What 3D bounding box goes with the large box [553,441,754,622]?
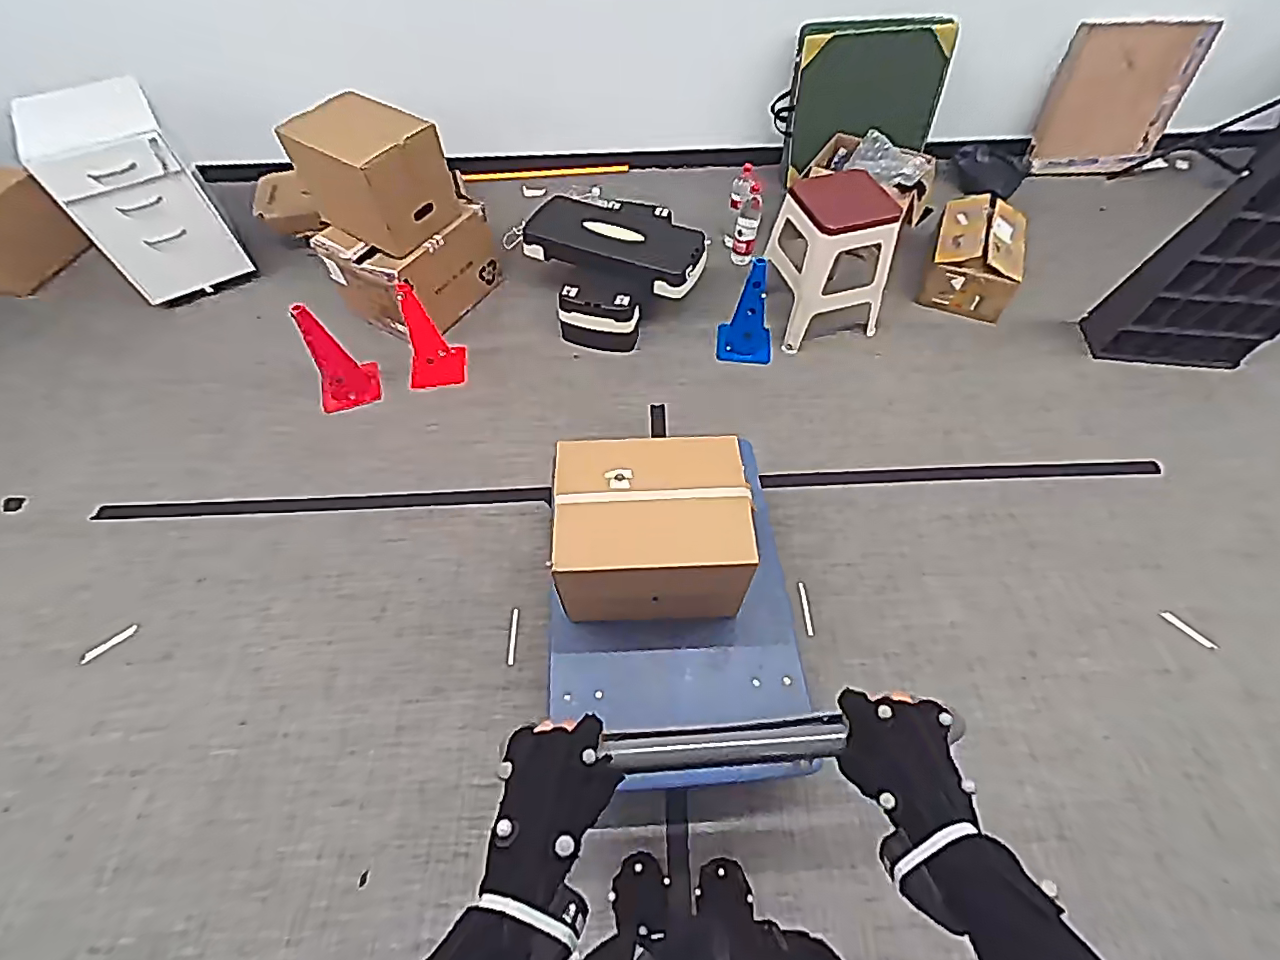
[{"bbox_3d":[0.024,0.130,1.262,0.408,0.320,0.320,-3,57,0],"label":"large box"}]
